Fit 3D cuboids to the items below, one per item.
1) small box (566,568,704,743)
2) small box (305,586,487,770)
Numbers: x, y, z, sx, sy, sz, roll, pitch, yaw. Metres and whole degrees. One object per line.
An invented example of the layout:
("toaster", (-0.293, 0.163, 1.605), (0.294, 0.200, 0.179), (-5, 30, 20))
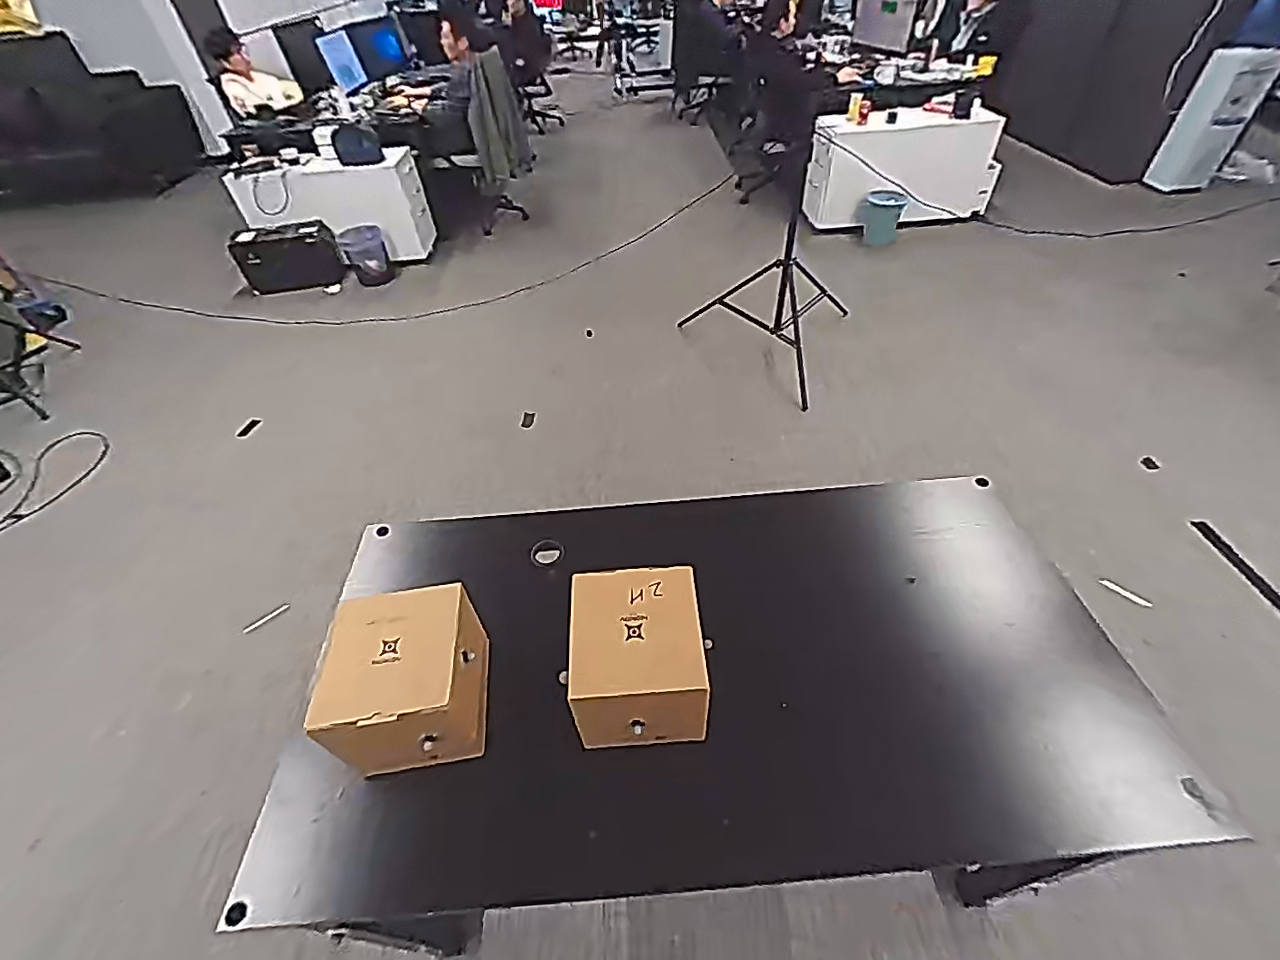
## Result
("small box", (-0.004, 0.243, 0.737), (0.168, 0.176, 0.179), (-4, 45, 0))
("small box", (-0.310, 0.272, 0.733), (0.168, 0.176, 0.179), (-8, 44, -5))
